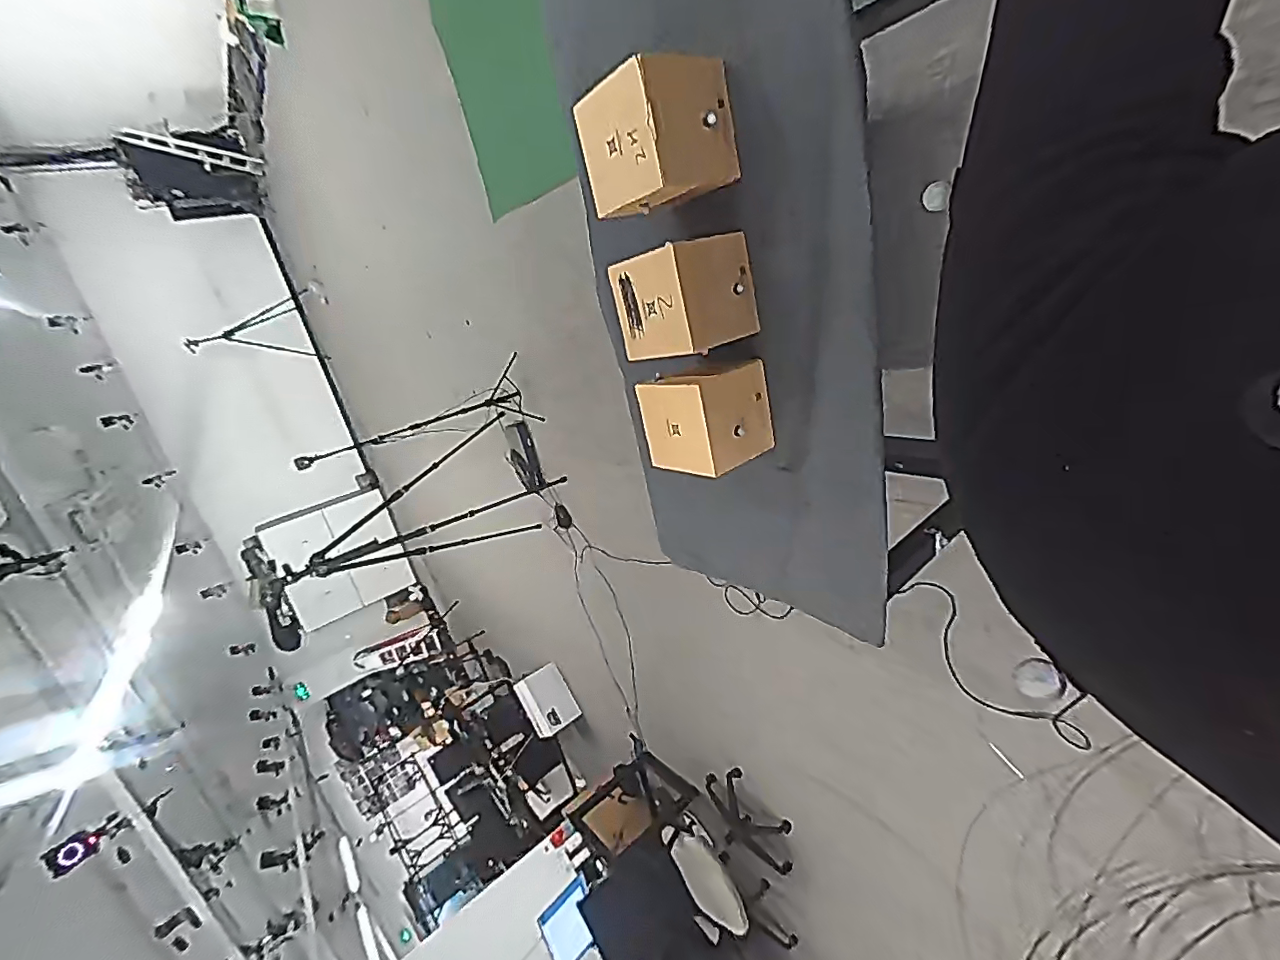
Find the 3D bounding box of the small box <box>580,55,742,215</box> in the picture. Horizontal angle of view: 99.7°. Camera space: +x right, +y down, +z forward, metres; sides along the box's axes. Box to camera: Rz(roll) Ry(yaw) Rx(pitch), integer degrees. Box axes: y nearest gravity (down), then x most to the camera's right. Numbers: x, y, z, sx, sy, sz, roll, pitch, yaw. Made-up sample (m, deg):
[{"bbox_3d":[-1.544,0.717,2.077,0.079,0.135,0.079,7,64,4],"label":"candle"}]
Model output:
[{"bbox_3d":[0.034,-0.535,0.858,0.179,0.176,0.168,11,120,52],"label":"small box"}]
